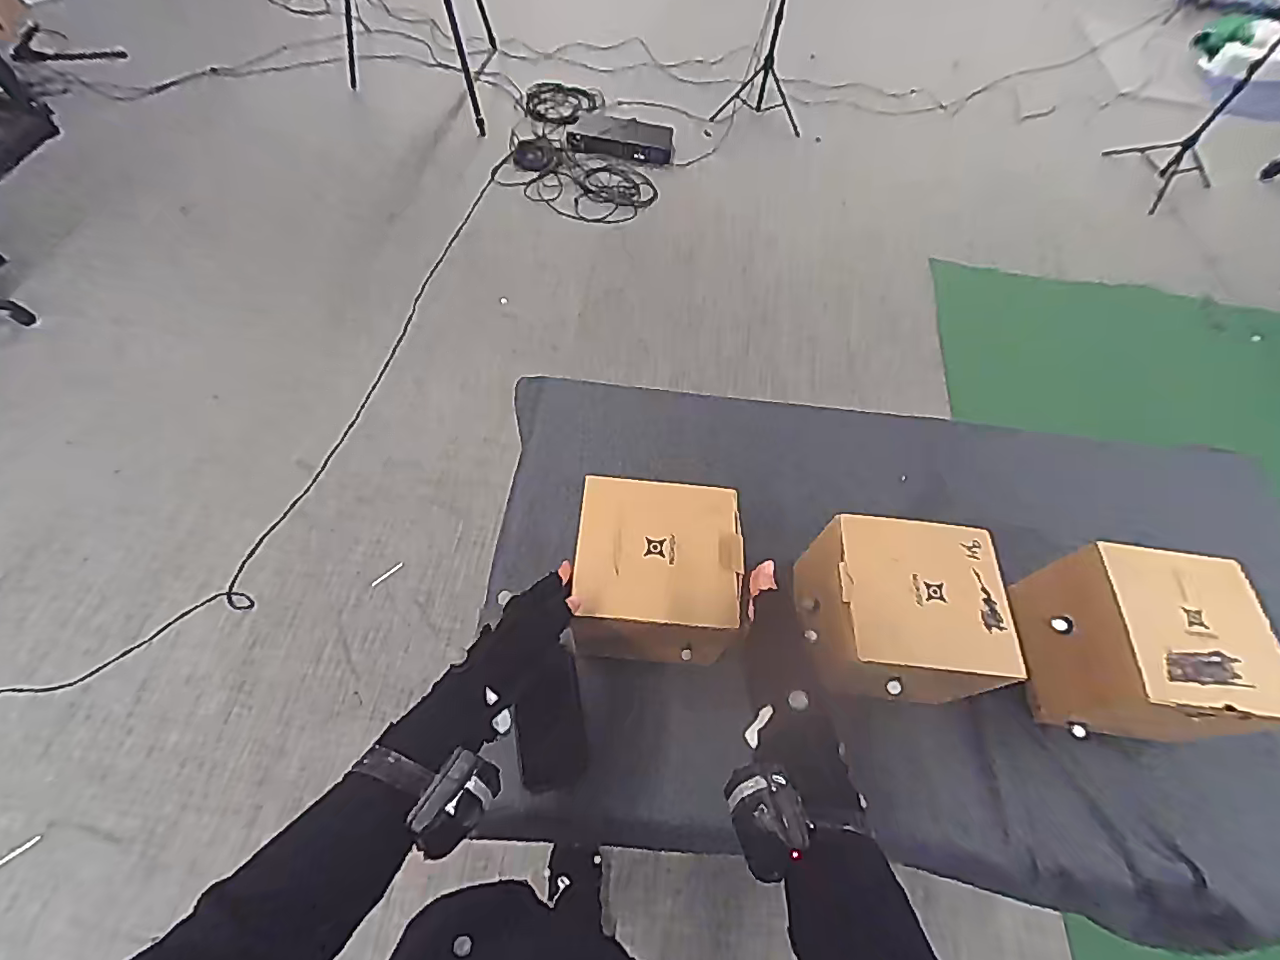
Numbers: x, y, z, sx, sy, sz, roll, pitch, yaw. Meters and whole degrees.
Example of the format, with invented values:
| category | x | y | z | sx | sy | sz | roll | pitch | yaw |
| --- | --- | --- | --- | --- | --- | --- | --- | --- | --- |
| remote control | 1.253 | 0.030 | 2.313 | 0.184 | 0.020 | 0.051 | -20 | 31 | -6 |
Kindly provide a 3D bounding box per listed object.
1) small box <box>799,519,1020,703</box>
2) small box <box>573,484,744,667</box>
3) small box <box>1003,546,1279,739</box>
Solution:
| category | x | y | z | sx | sy | sz | roll | pitch | yaw |
| --- | --- | --- | --- | --- | --- | --- | --- | --- | --- |
| small box | 0.299 | 0.164 | 0.651 | 0.179 | 0.176 | 0.168 | 6 | 59 | 0 |
| small box | 0.018 | 0.122 | 0.654 | 0.179 | 0.176 | 0.168 | 4 | 58 | -1 |
| small box | 0.583 | 0.202 | 0.651 | 0.168 | 0.176 | 0.179 | 8 | 58 | 0 |
